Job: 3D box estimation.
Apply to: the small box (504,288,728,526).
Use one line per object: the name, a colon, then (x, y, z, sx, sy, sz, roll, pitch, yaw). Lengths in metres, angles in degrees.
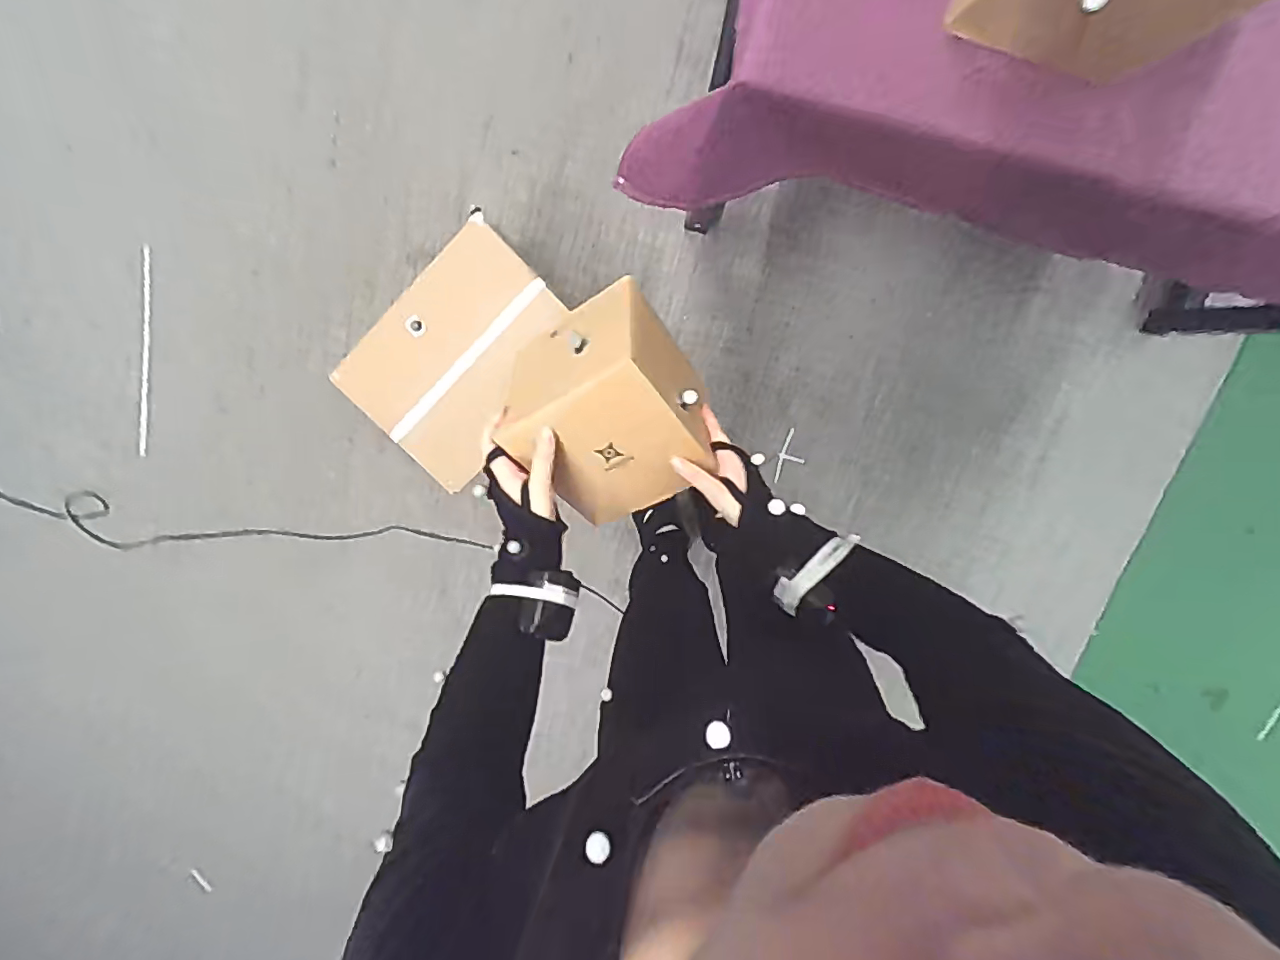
small box: (-0.023, -0.084, 0.599, 0.168, 0.176, 0.179, -25, 133, 23)
